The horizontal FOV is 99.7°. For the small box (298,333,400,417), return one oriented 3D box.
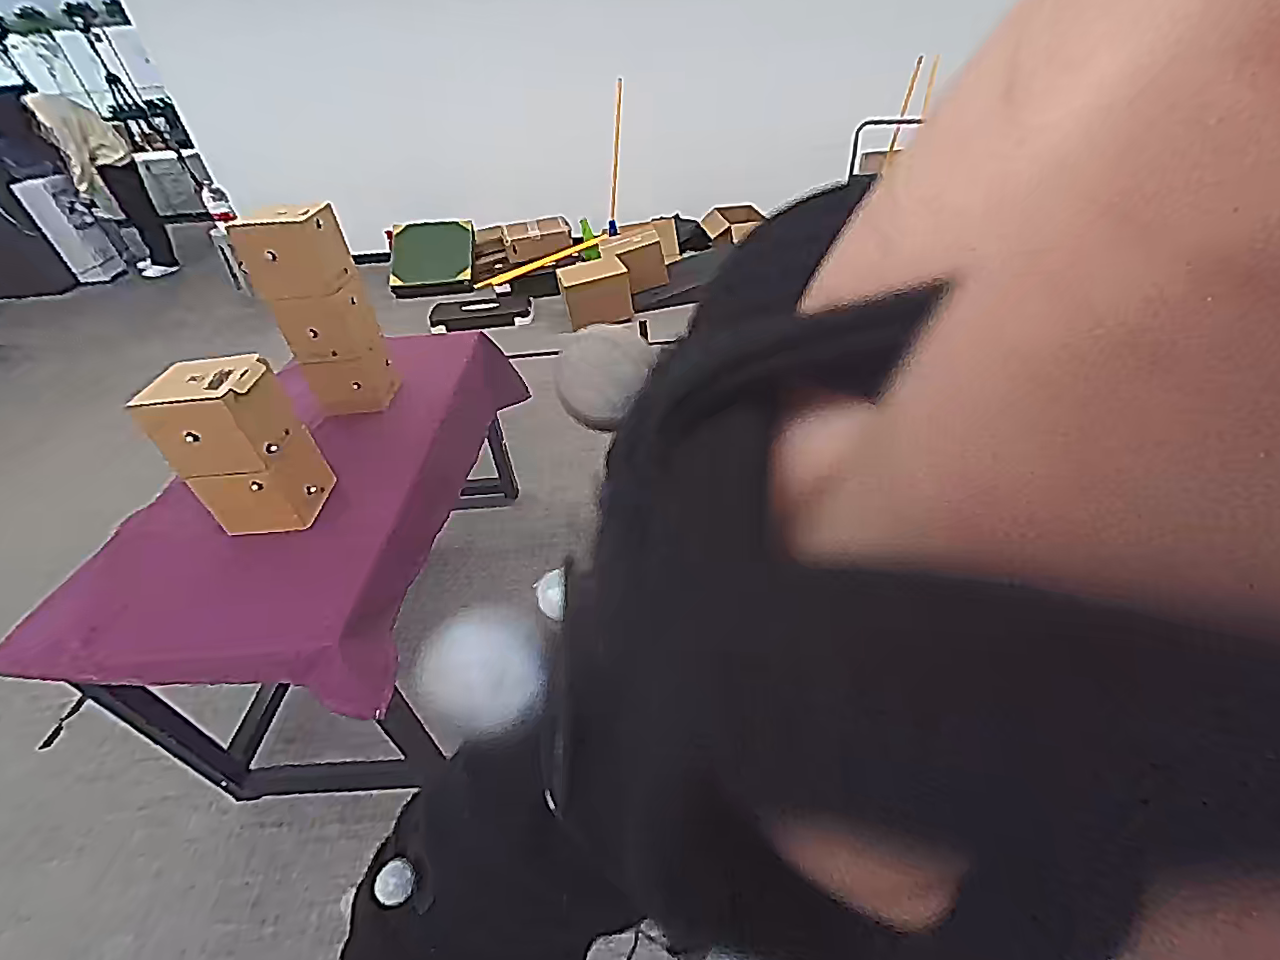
[{"bbox_3d":[-0.798,-0.292,1.508,0.179,0.176,0.168,-5,41,1],"label":"small box"}]

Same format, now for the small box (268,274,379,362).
[{"bbox_3d":[-0.806,-0.416,1.400,0.168,0.176,0.179,-5,40,-1],"label":"small box"}]

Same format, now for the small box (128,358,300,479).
[{"bbox_3d":[-0.816,-0.119,1.063,0.179,0.176,0.168,-6,40,-1],"label":"small box"}]

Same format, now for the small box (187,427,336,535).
[{"bbox_3d":[-0.804,0.004,1.171,0.179,0.176,0.168,-4,41,0],"label":"small box"}]

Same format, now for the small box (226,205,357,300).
[{"bbox_3d":[-0.823,-0.542,1.297,0.179,0.176,0.168,-5,41,1],"label":"small box"}]
